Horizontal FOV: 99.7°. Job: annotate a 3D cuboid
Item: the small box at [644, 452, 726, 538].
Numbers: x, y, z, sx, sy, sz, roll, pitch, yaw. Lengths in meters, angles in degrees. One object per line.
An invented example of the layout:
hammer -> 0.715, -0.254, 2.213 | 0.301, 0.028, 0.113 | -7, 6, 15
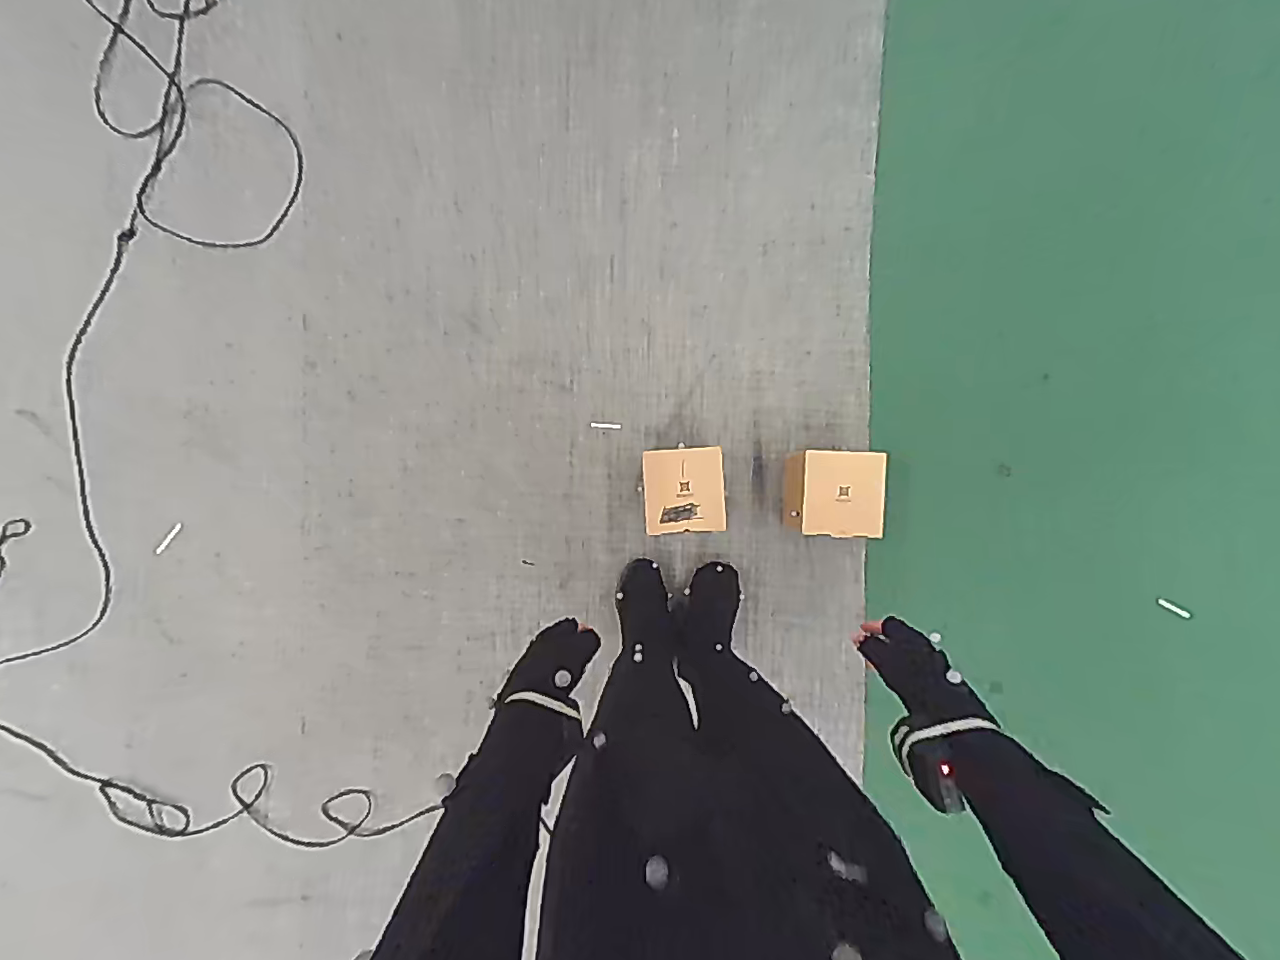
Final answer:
small box -> 0.096, 0.030, 1.193 | 0.168, 0.176, 0.179 | -3, 90, 1

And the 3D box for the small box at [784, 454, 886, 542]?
small box -> 0.420, 0.037, 1.186 | 0.168, 0.176, 0.179 | 3, 91, 2
